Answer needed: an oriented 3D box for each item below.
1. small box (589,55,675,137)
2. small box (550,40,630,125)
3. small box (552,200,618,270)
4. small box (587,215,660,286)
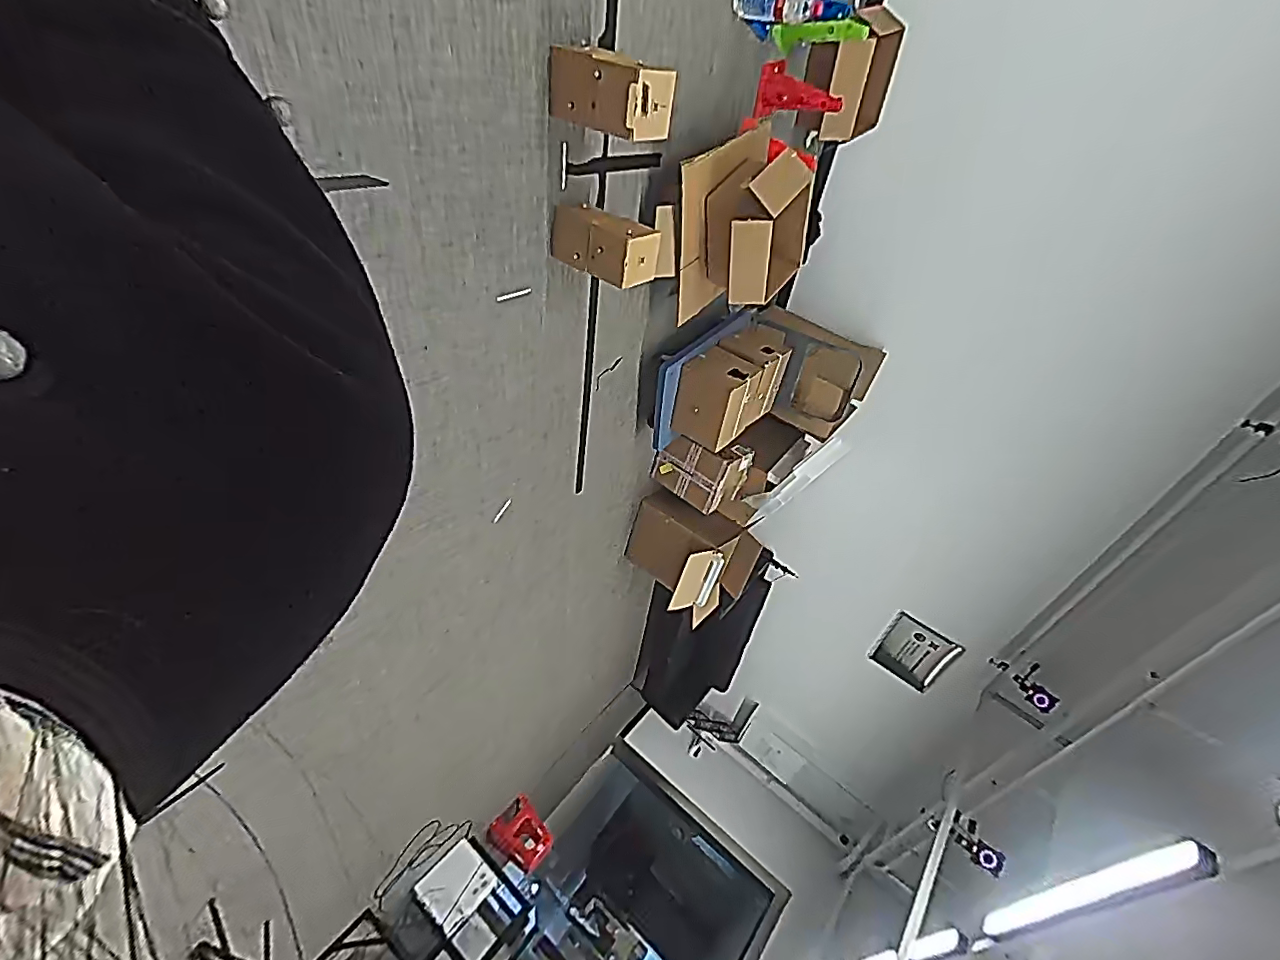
[{"bbox_3d":[-0.027,-1.089,1.535,0.179,0.176,0.168,-37,149,-40],"label":"small box"},{"bbox_3d":[-0.152,-1.176,1.598,0.168,0.176,0.179,-38,149,-38],"label":"small box"},{"bbox_3d":[-0.192,-0.866,1.903,0.168,0.176,0.179,-33,148,-43],"label":"small box"},{"bbox_3d":[-0.060,-0.790,1.846,0.179,0.176,0.168,-35,149,-39],"label":"small box"}]
